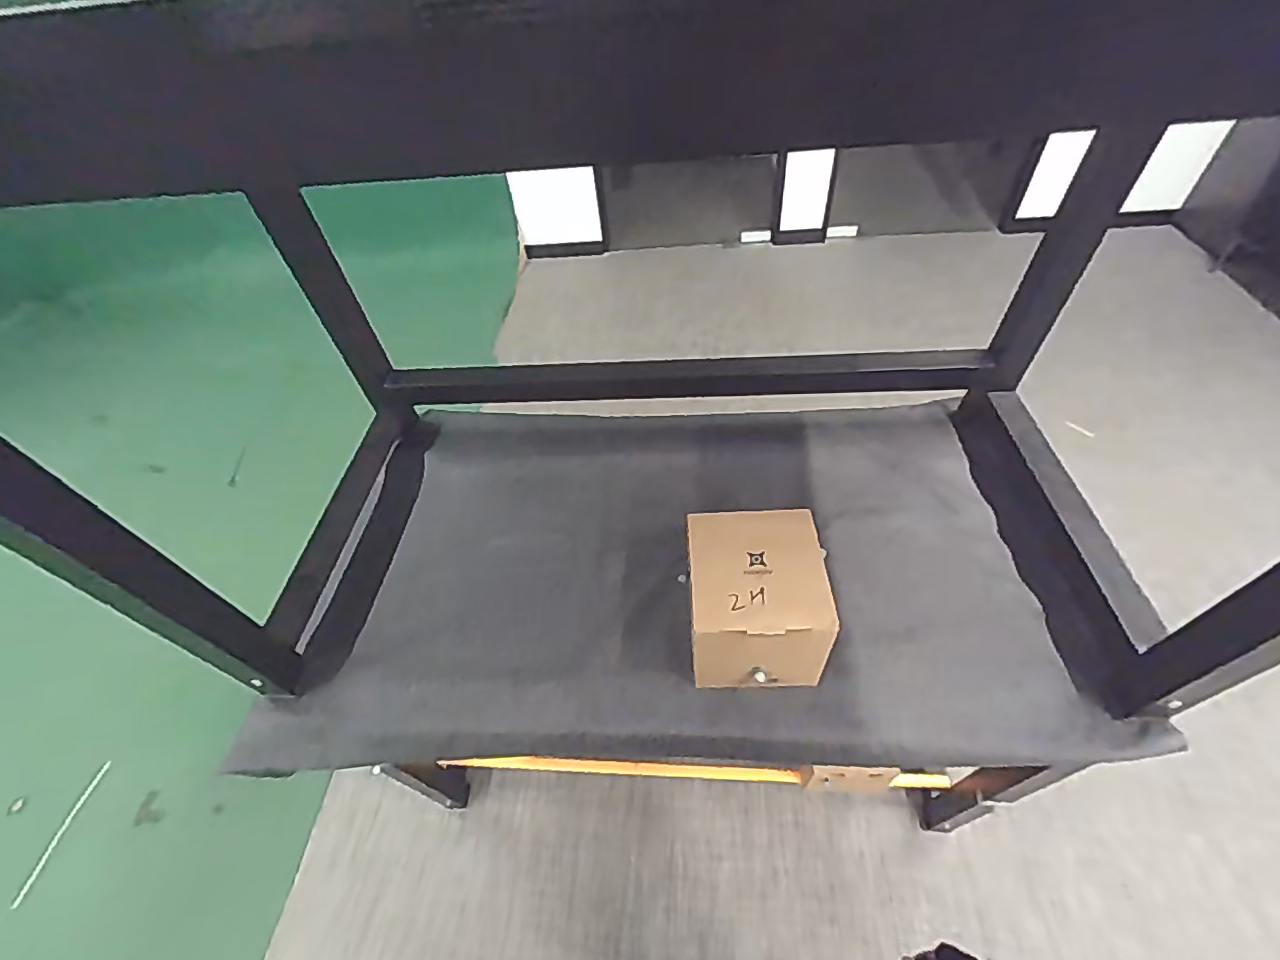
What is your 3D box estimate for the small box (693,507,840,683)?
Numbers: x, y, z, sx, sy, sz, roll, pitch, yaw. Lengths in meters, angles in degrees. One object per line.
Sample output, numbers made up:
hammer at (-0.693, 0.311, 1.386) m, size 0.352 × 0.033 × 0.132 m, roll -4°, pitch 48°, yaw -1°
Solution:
small box at (0.156, 0.157, 0.737) m, size 0.168 × 0.176 × 0.179 m, roll -3°, pitch 48°, yaw 5°
